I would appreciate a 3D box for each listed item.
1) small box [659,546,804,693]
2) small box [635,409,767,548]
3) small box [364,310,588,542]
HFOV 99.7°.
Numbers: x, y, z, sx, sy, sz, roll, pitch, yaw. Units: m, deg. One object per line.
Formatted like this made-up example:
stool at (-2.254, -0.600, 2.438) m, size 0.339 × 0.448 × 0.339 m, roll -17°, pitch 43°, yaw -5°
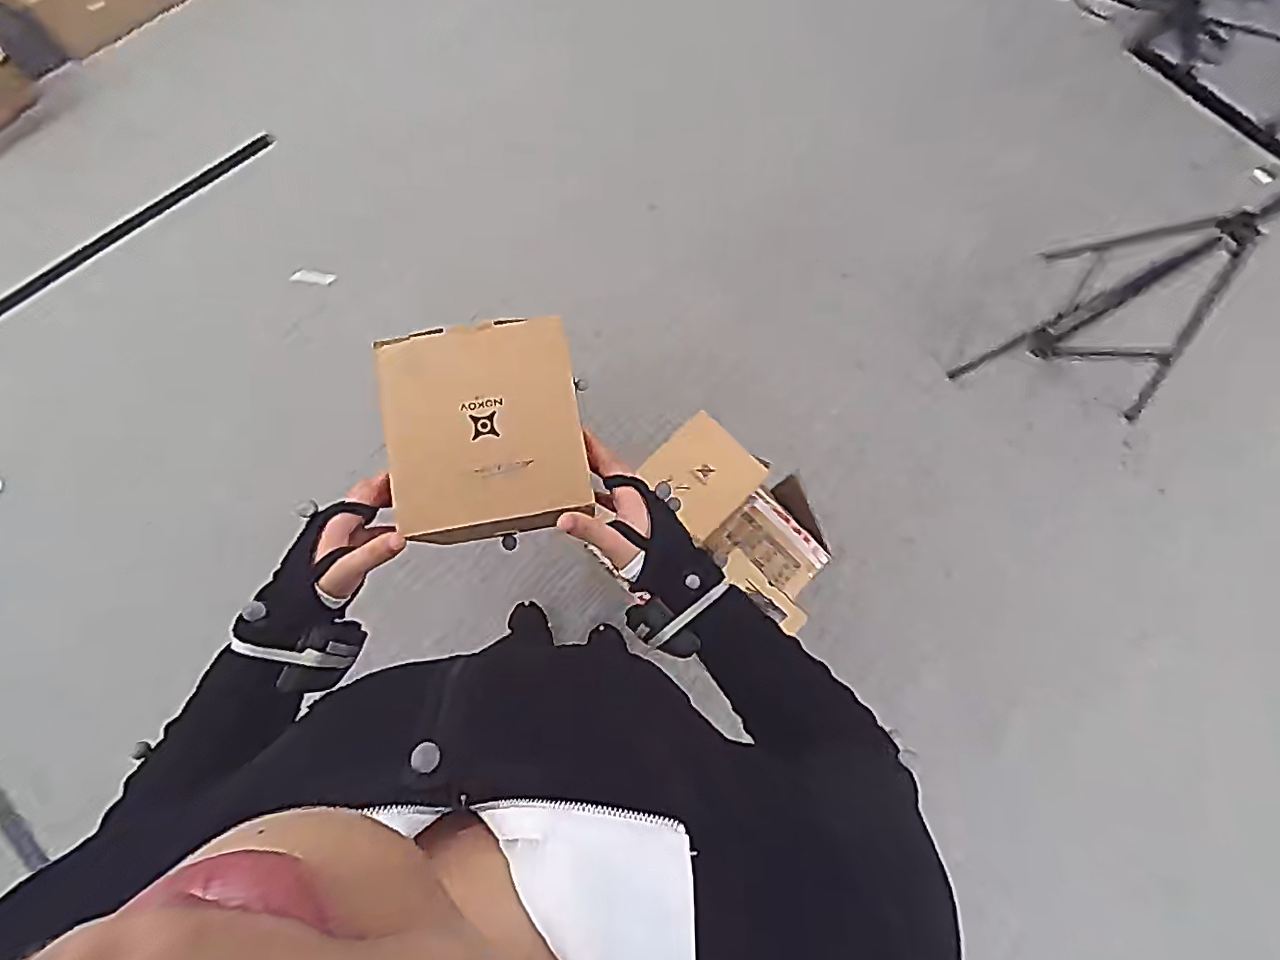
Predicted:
small box at (0.149, 0.238, 0.953) m, size 0.179 × 0.176 × 0.168 m, roll -43°, pitch 83°, yaw -10°
small box at (0.102, 0.004, 1.004) m, size 0.179 × 0.176 × 0.168 m, roll -43°, pitch 80°, yaw -10°
small box at (-0.149, -0.041, 0.538) m, size 0.168 × 0.176 × 0.179 m, roll -11°, pitch 83°, yaw -7°
